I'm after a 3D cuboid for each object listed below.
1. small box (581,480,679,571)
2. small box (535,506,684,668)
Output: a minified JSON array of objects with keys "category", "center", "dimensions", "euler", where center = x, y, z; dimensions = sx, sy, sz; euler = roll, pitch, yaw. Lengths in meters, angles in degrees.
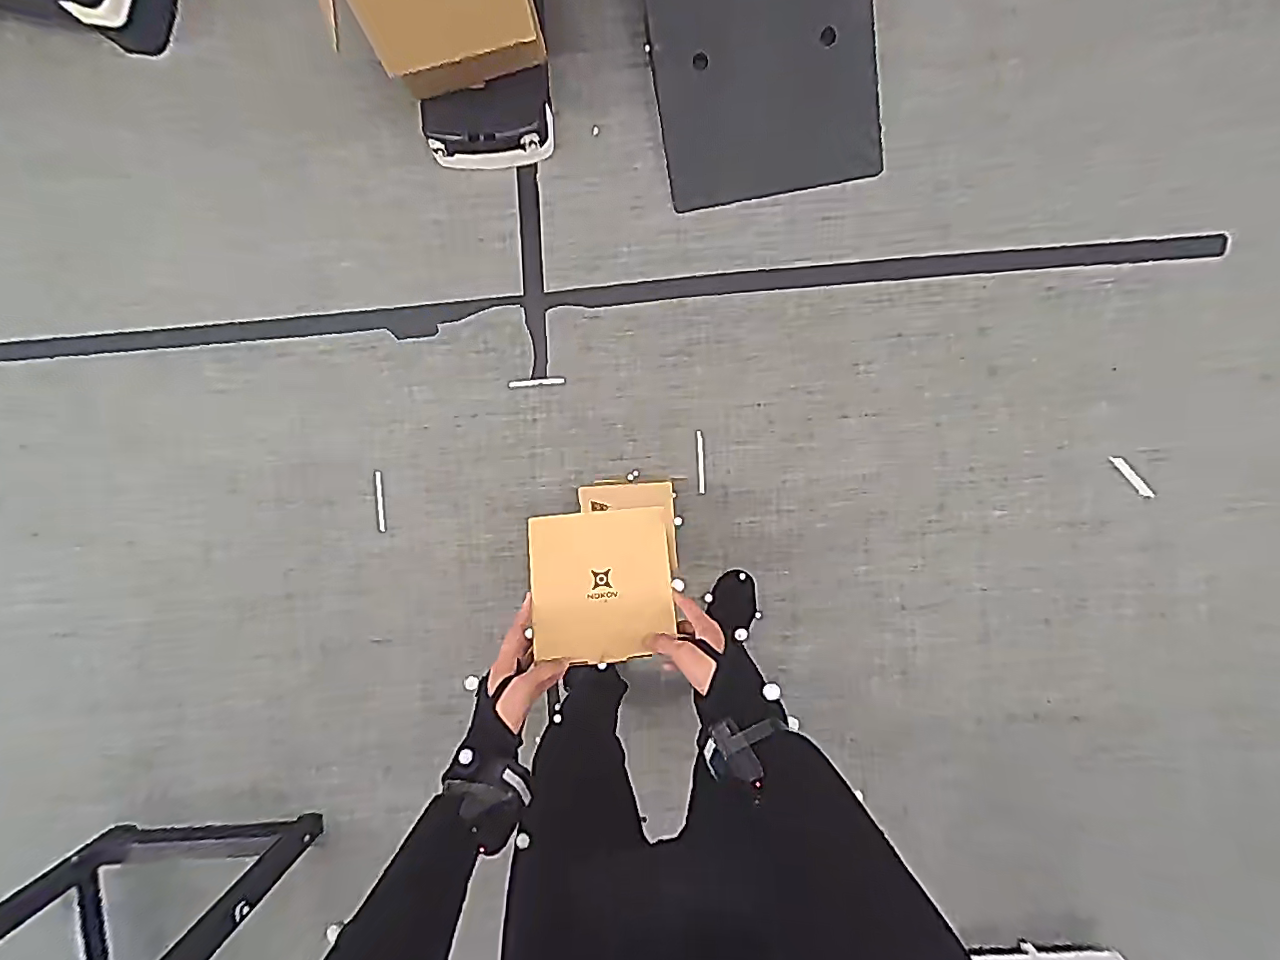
[{"category":"small box","center":[-0.016,0.088,1.069],"dimensions":[0.179,0.176,0.168],"euler":[-3,92,1]},{"category":"small box","center":[-0.041,0.143,0.701],"dimensions":[0.168,0.176,0.179],"euler":[-5,75,-2]}]
